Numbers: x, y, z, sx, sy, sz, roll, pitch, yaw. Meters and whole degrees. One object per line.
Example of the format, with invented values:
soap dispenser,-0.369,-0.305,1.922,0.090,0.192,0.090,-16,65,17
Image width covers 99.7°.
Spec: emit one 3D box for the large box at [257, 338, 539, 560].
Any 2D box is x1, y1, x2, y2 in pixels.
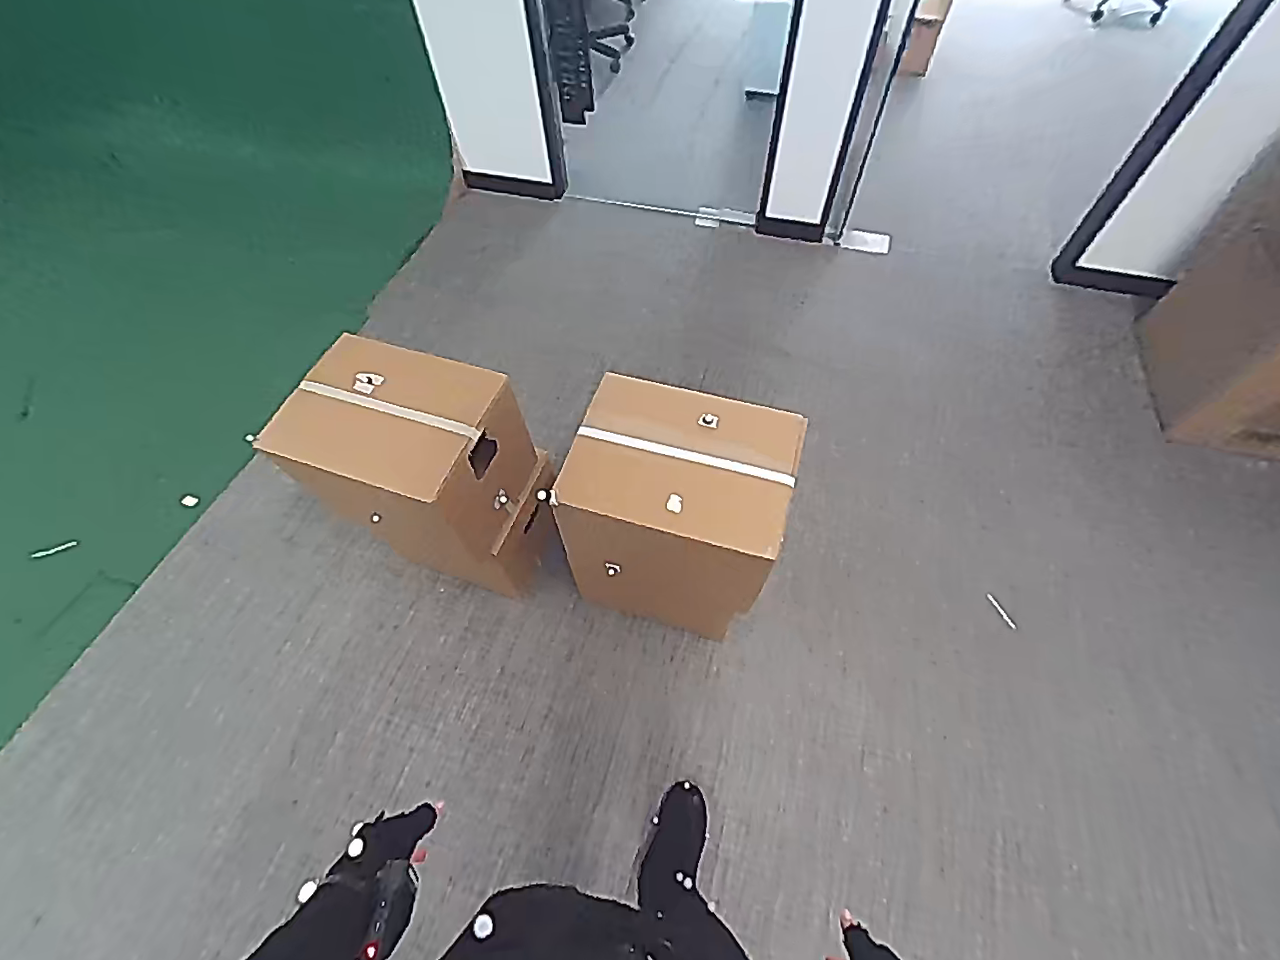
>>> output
large box,-0.492,-0.061,1.193,0.408,0.320,0.320,16,62,13
